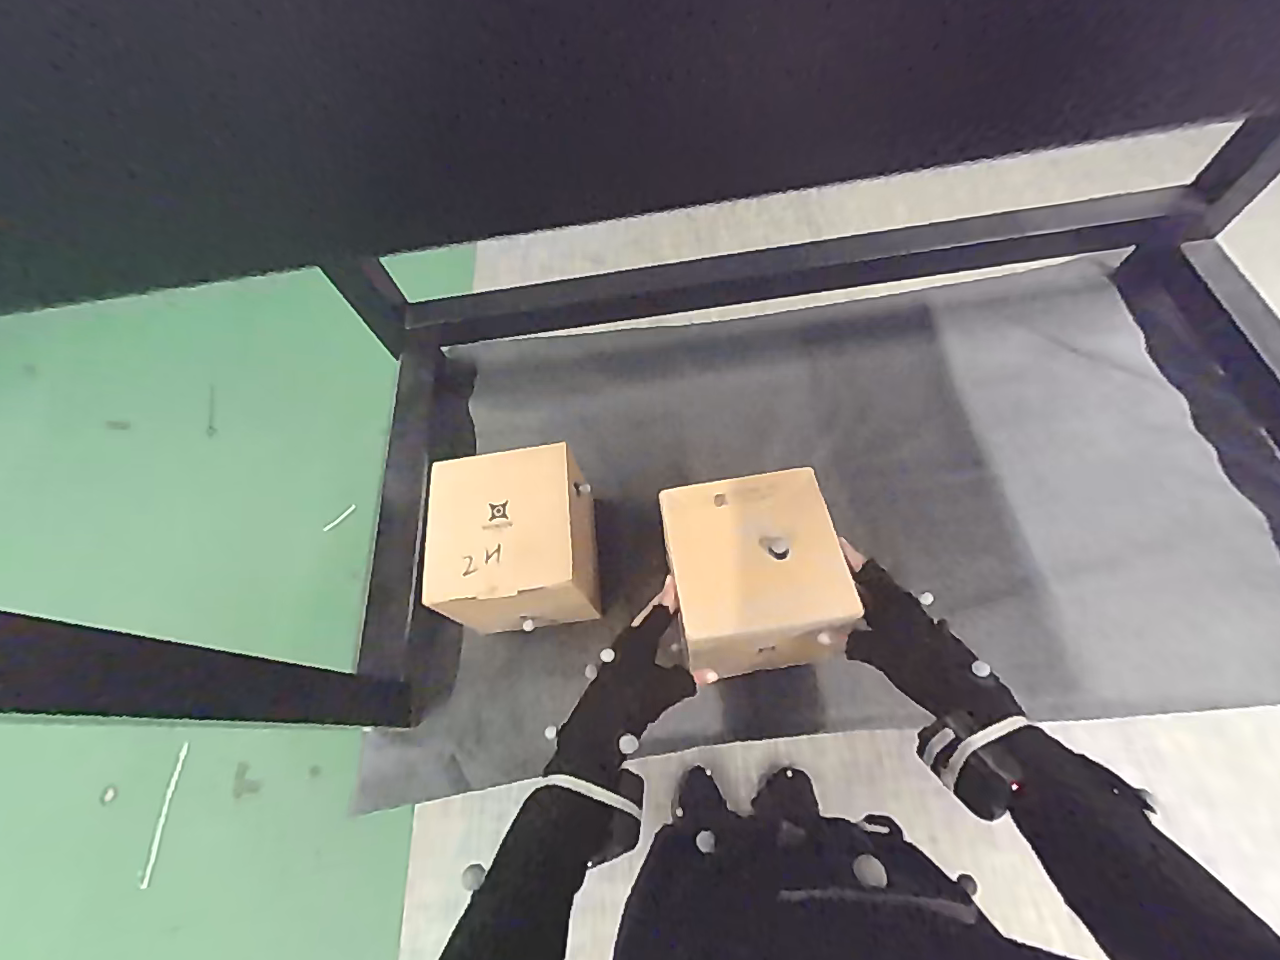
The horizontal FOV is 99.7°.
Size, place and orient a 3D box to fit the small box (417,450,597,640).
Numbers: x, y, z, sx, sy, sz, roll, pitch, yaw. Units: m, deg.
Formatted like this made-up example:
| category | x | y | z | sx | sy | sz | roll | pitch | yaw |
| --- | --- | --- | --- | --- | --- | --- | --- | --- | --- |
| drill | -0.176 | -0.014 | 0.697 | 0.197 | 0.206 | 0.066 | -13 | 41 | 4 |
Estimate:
| category | x | y | z | sx | sy | sz | roll | pitch | yaw |
| --- | --- | --- | --- | --- | --- | --- | --- | --- | --- |
| small box | -0.151 | 0.087 | 0.672 | 0.168 | 0.176 | 0.179 | -8 | 62 | 4 |
